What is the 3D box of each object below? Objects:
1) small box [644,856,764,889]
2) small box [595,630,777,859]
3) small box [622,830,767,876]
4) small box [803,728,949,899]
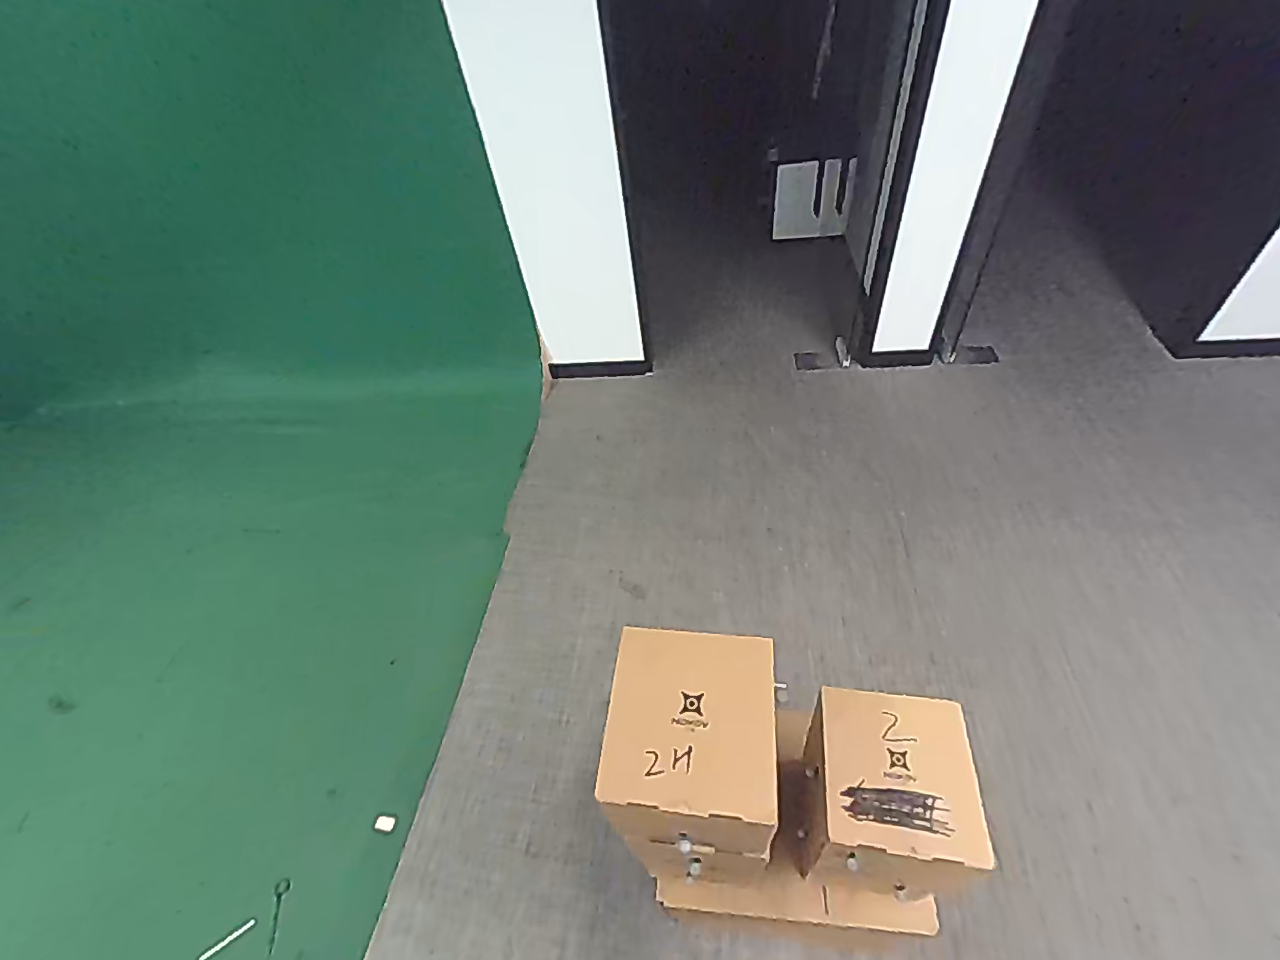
[{"bbox_3d":[0.100,0.506,0.835,0.168,0.176,0.179,1,49,9],"label":"small box"},{"bbox_3d":[0.058,0.288,0.591,0.168,0.176,0.179,1,49,10],"label":"small box"},{"bbox_3d":[0.080,0.400,0.711,0.168,0.176,0.179,2,50,9],"label":"small box"},{"bbox_3d":[0.335,0.495,0.803,0.168,0.176,0.179,2,47,13],"label":"small box"}]
